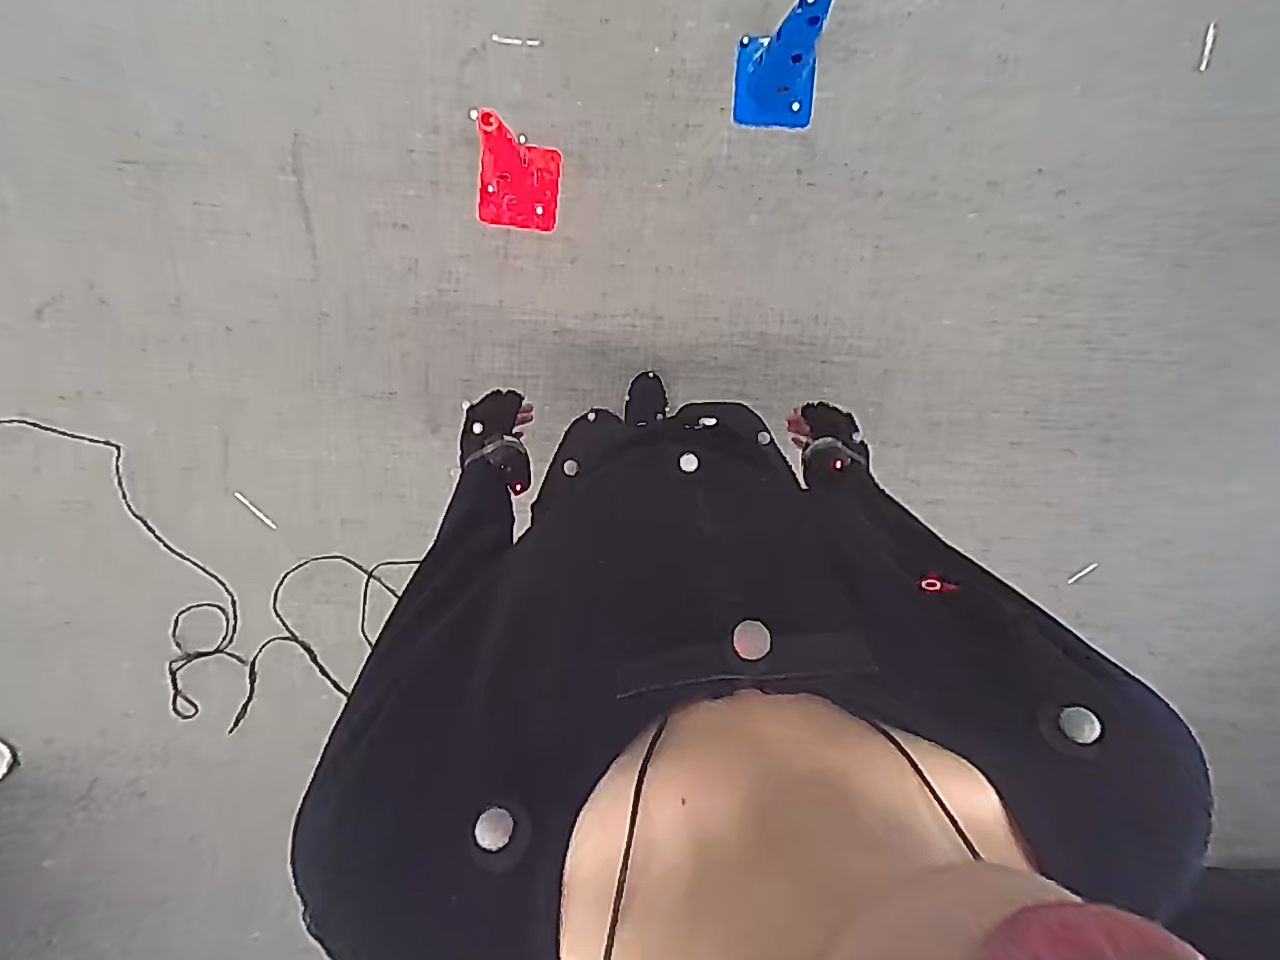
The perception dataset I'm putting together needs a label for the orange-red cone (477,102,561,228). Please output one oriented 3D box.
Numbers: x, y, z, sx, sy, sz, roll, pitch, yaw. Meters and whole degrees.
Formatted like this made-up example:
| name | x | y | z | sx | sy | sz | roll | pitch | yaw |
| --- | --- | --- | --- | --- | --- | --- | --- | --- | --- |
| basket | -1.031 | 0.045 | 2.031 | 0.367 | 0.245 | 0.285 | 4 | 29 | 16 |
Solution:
| name | x | y | z | sx | sy | sz | roll | pitch | yaw |
| --- | --- | --- | --- | --- | --- | --- | --- | --- | --- |
| orange-red cone | -0.296 | -0.724 | 1.192 | 0.198 | 0.360 | 0.199 | 7 | 98 | -4 |
